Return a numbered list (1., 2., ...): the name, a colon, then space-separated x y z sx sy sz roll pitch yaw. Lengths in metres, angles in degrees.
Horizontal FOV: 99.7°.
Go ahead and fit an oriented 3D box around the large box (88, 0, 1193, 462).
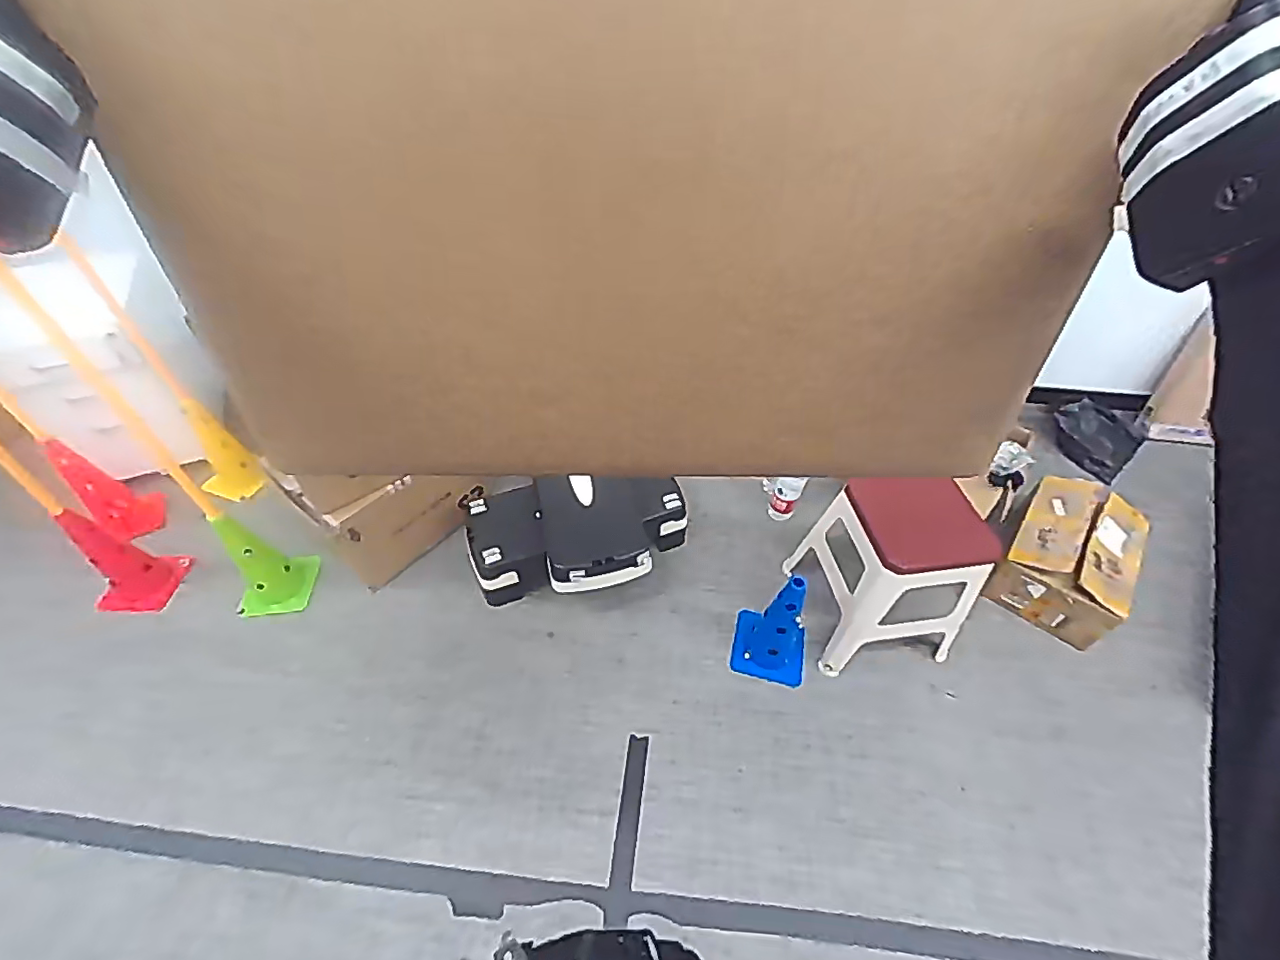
1. large box: -0.002 -0.219 0.339 0.408 0.320 0.320 1 40 -1
